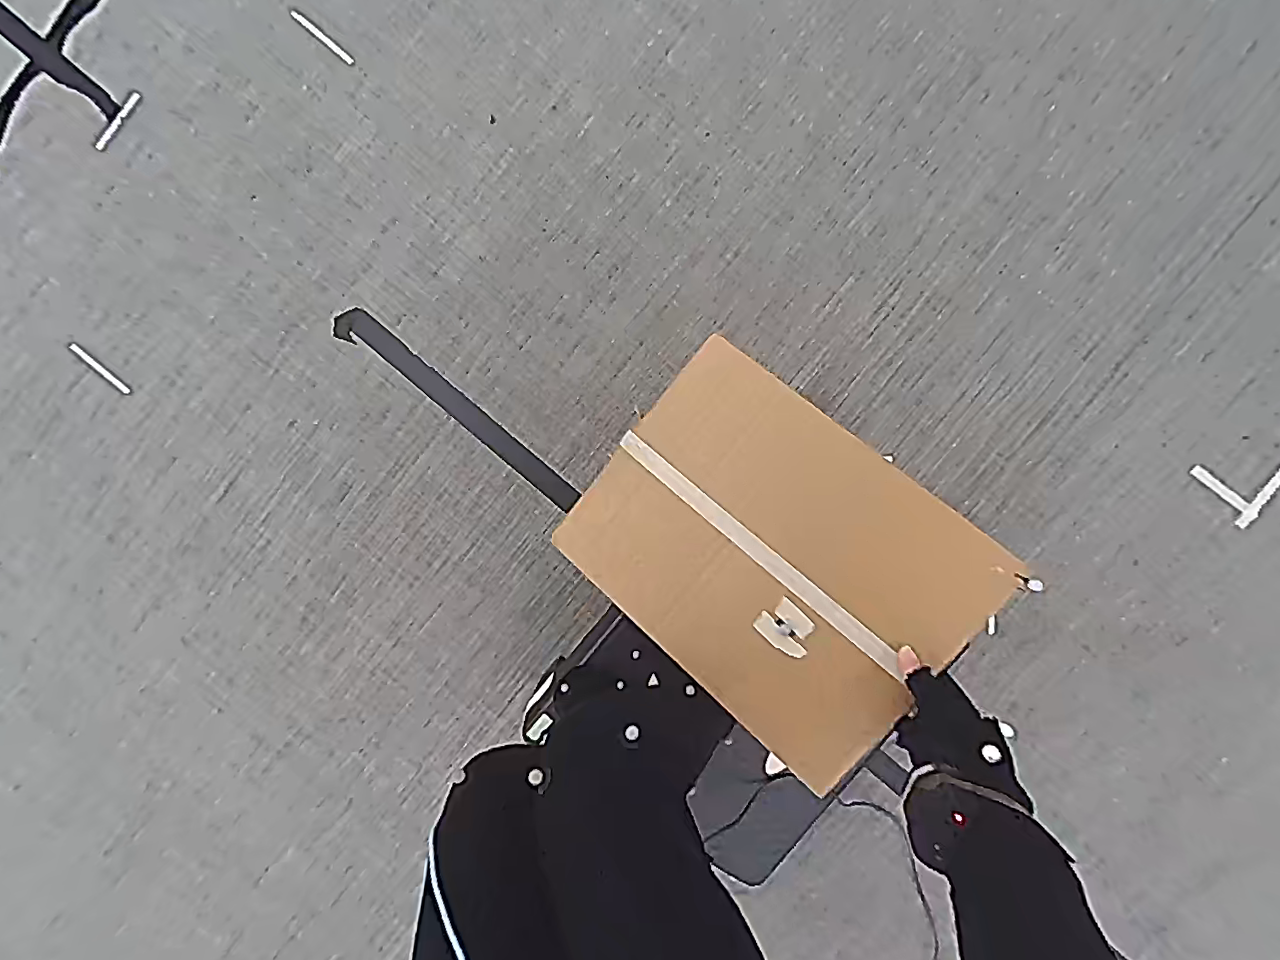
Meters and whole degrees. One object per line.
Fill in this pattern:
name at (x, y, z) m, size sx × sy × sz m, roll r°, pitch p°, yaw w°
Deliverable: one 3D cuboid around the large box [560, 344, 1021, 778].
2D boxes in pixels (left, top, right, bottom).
large box at (0.176, 0.085, 0.740) m, size 0.408 × 0.320 × 0.320 m, roll 41°, pitch 98°, yaw 14°
